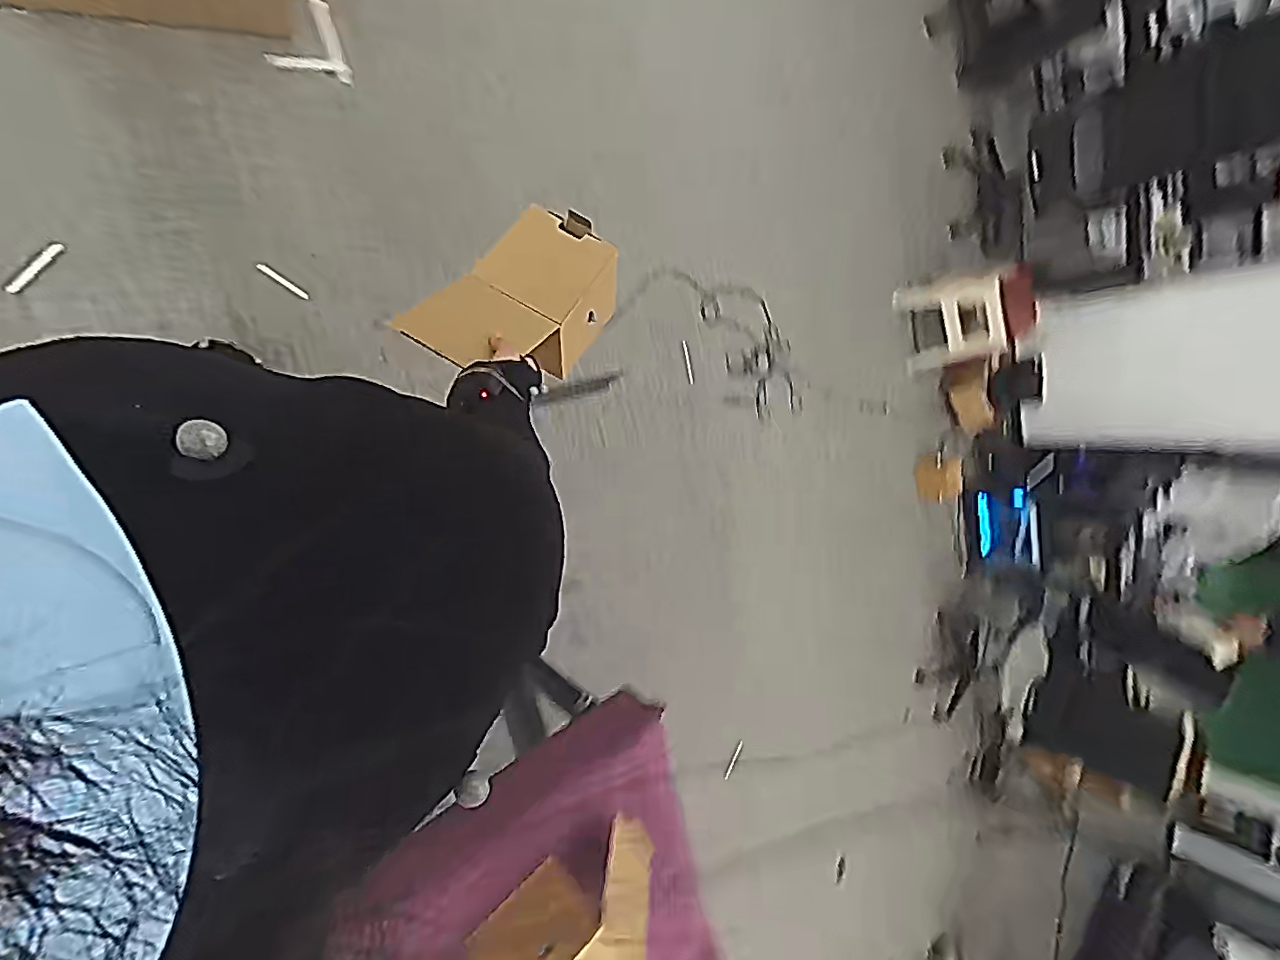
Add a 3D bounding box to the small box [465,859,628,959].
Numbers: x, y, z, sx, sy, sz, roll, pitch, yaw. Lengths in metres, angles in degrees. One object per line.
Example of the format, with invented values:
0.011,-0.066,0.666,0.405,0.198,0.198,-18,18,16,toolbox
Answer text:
-0.134,0.736,0.820,0.179,0.176,0.168,-33,111,-28,small box
